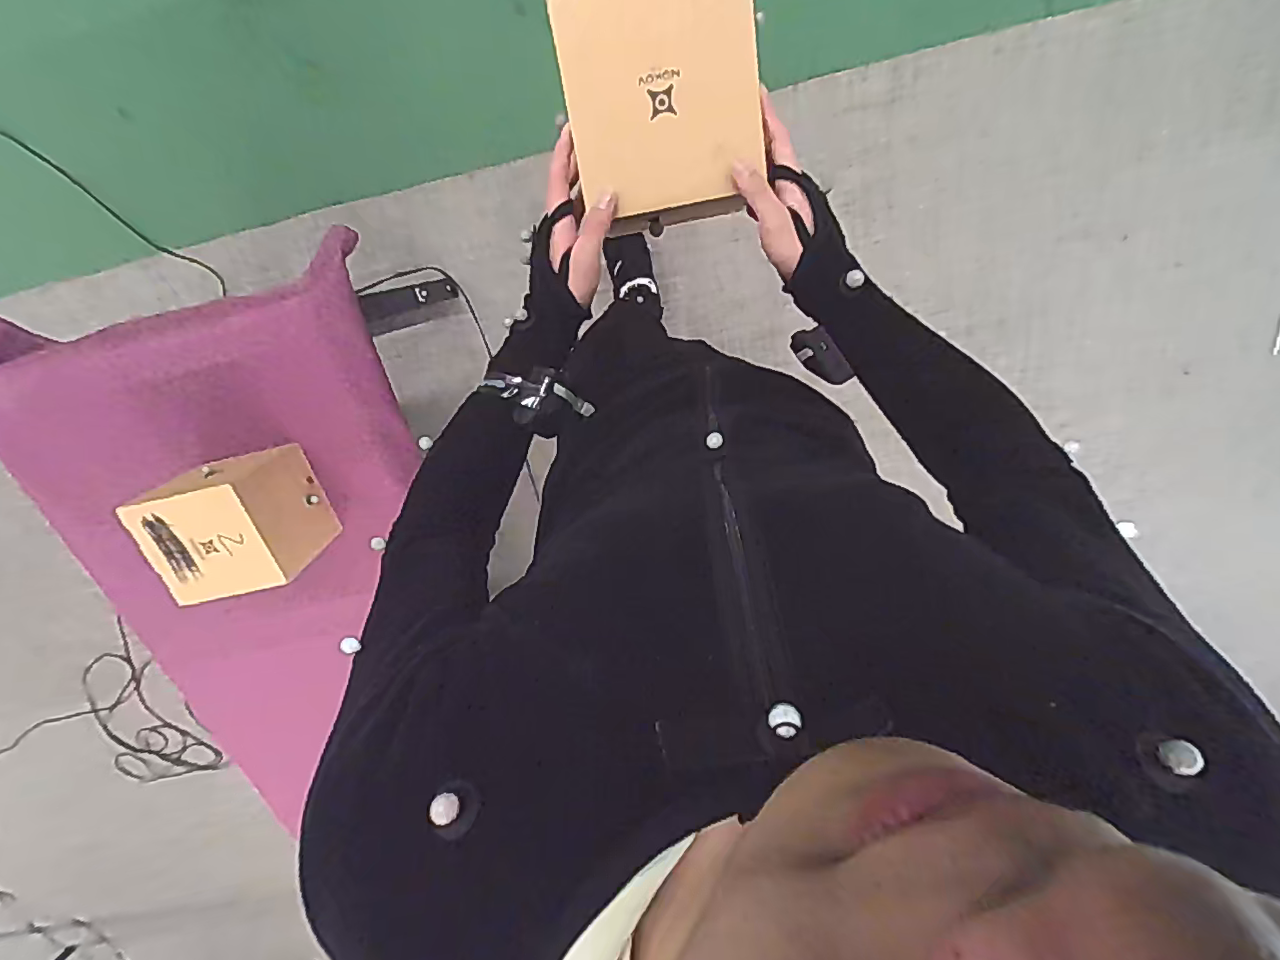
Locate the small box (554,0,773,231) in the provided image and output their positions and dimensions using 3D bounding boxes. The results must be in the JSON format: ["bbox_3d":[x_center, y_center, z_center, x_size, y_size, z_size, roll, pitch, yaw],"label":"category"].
[{"bbox_3d":[0.029,-0.353,0.528,0.168,0.176,0.179,-9,107,7],"label":"small box"}]
